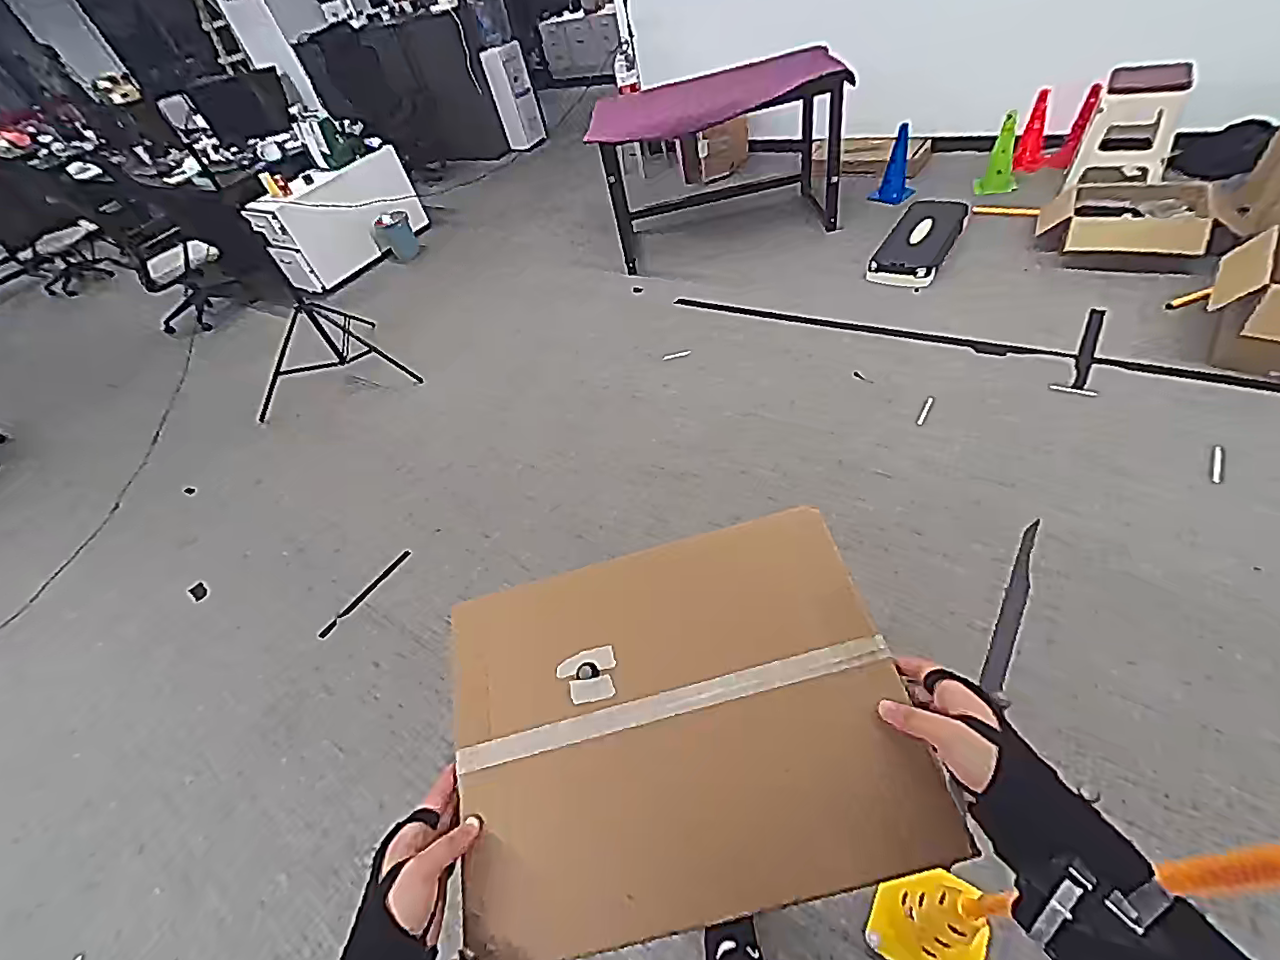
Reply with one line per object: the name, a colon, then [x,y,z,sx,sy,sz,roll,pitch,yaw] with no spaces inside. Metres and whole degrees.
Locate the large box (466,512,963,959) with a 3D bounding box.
large box: [0.061,0.290,0.631,0.408,0.320,0.320,-17,55,2]
